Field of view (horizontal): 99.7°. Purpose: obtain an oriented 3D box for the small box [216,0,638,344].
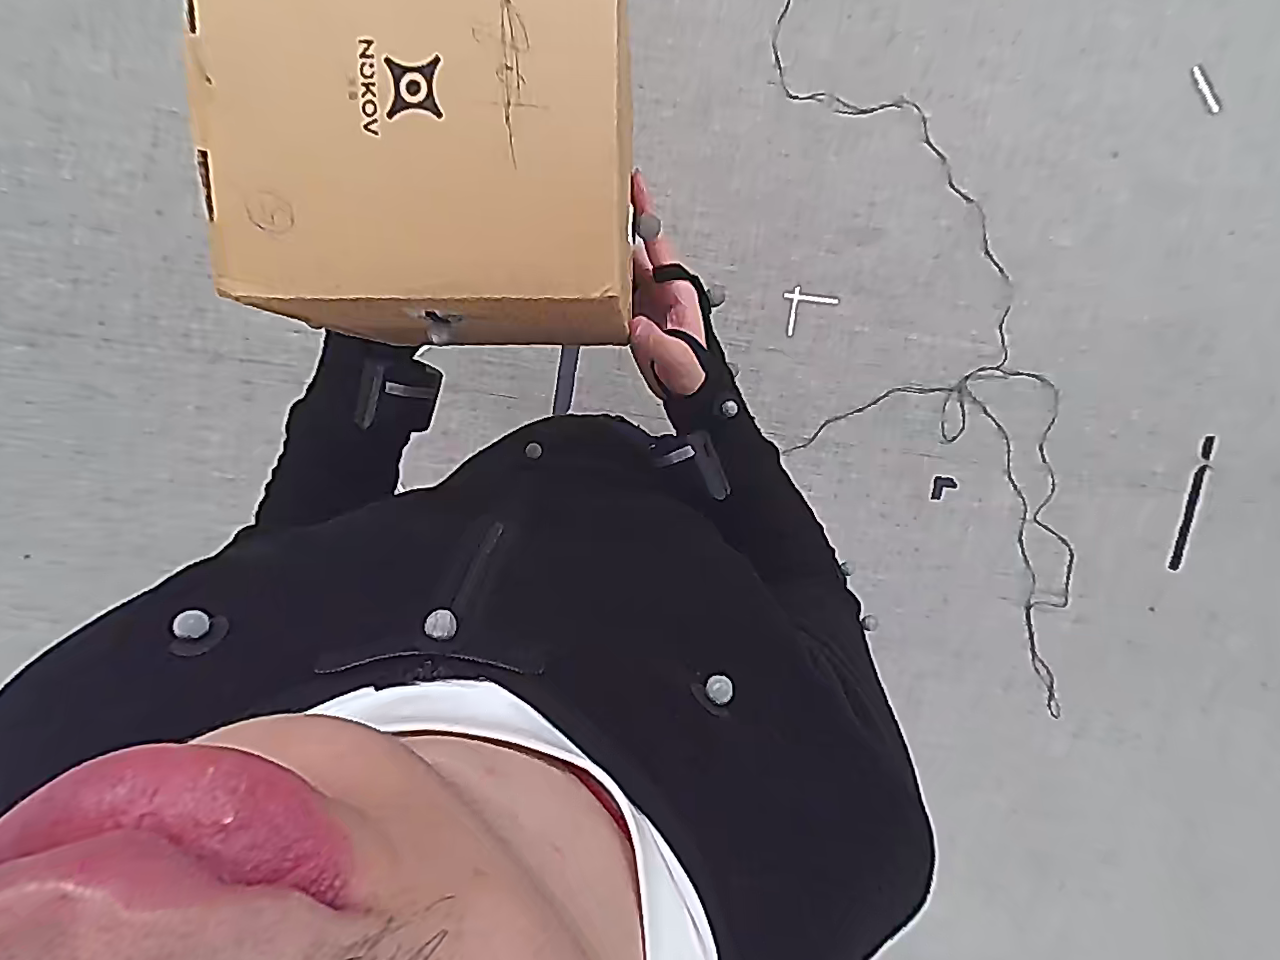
[{"bbox_3d":[-0.092,-0.171,0.311,0.179,0.176,0.168,1,98,1],"label":"small box"}]
